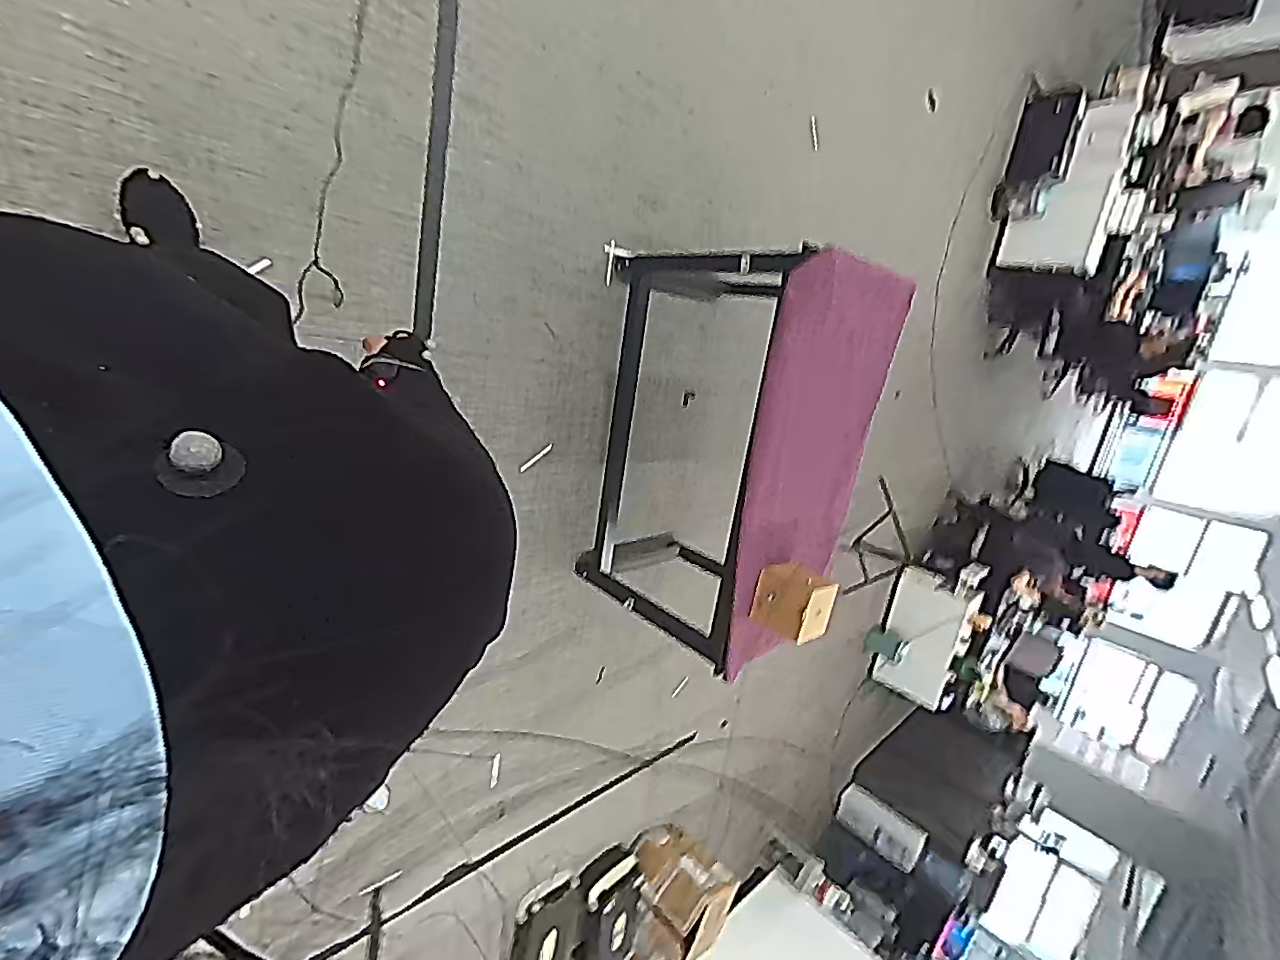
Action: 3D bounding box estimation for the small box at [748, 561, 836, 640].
[{"bbox_3d":[0.452,0.351,1.618,0.179,0.176,0.168,1,106,-46],"label":"small box"}]
